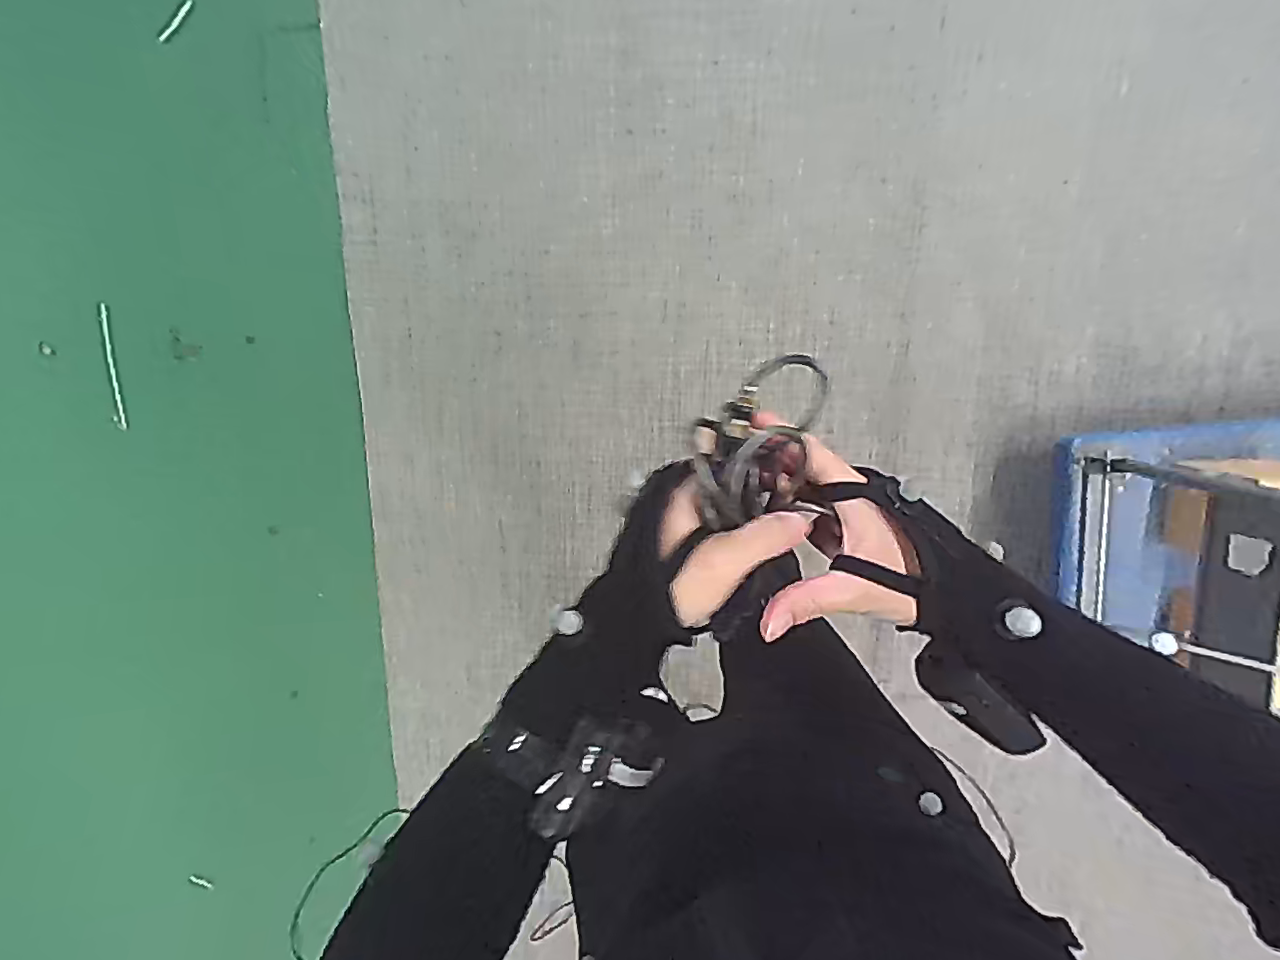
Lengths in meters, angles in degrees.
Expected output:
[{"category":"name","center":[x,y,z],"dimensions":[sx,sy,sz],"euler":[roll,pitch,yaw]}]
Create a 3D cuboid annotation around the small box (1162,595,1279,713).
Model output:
[{"category":"small box","center":[1.199,0.334,1.061],"dimensions":[0.179,0.176,0.168],"euler":[-2,101,6]}]
